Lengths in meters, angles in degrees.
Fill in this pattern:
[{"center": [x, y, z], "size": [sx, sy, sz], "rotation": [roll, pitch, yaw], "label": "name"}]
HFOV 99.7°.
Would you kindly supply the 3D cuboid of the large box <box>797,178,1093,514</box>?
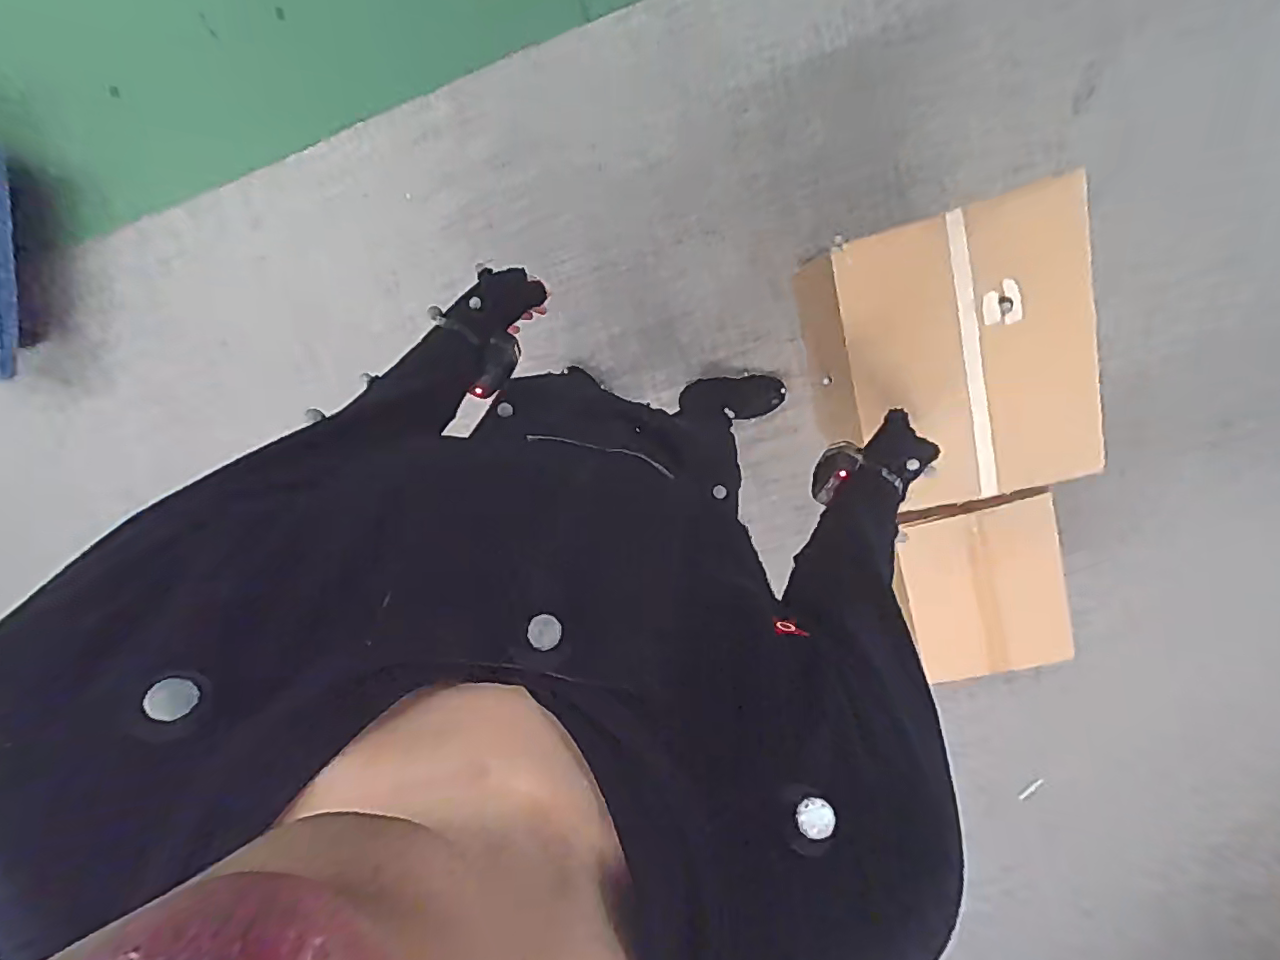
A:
[{"center": [0.468, -0.203, 0.896], "size": [0.320, 0.320, 0.408], "rotation": [-13, 103, 11], "label": "large box"}]
